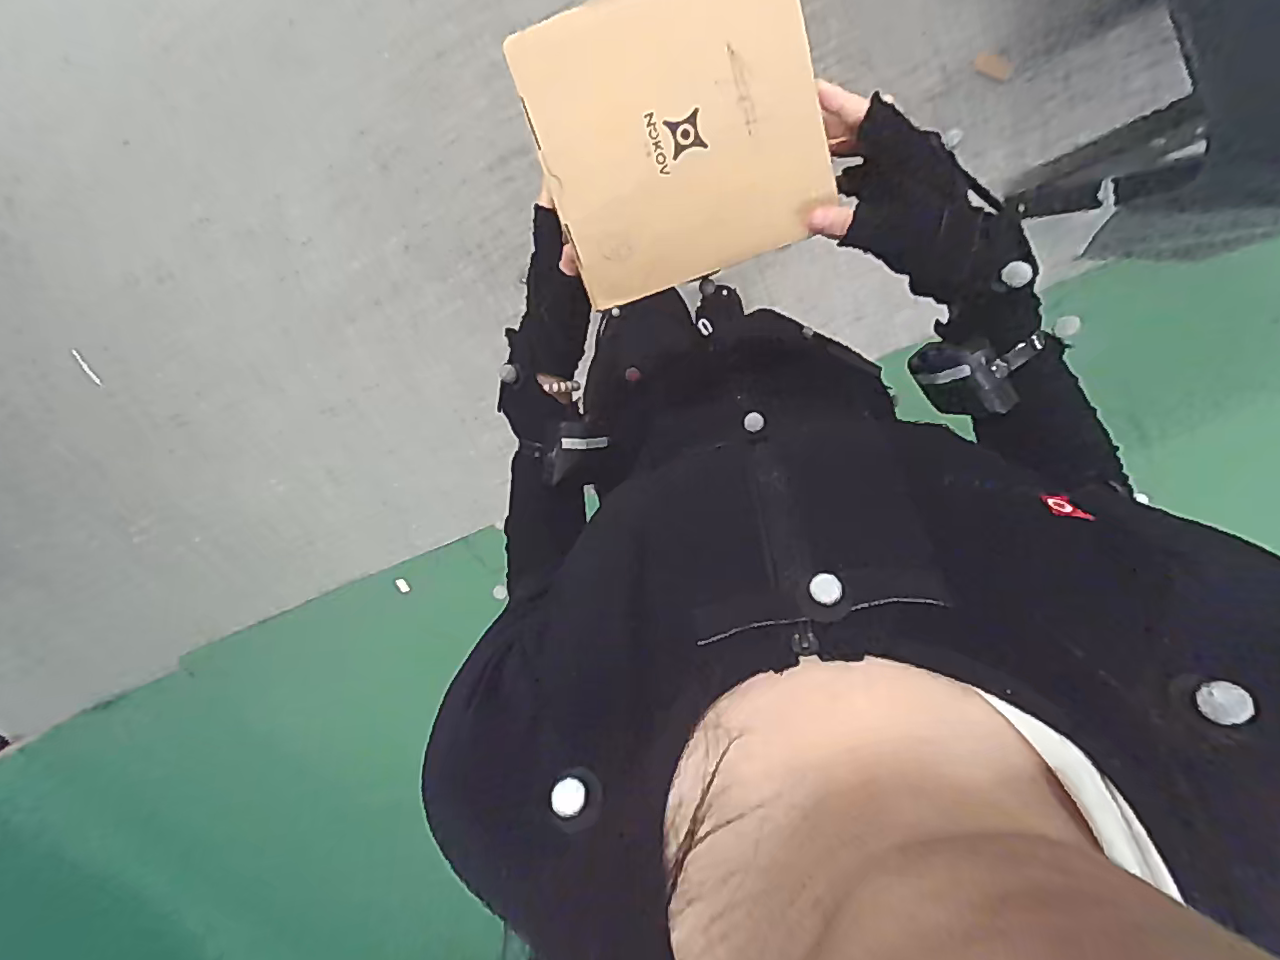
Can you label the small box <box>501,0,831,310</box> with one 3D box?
[{"bbox_3d":[0.022,-0.238,0.418,0.179,0.176,0.168,-17,107,6],"label":"small box"}]
